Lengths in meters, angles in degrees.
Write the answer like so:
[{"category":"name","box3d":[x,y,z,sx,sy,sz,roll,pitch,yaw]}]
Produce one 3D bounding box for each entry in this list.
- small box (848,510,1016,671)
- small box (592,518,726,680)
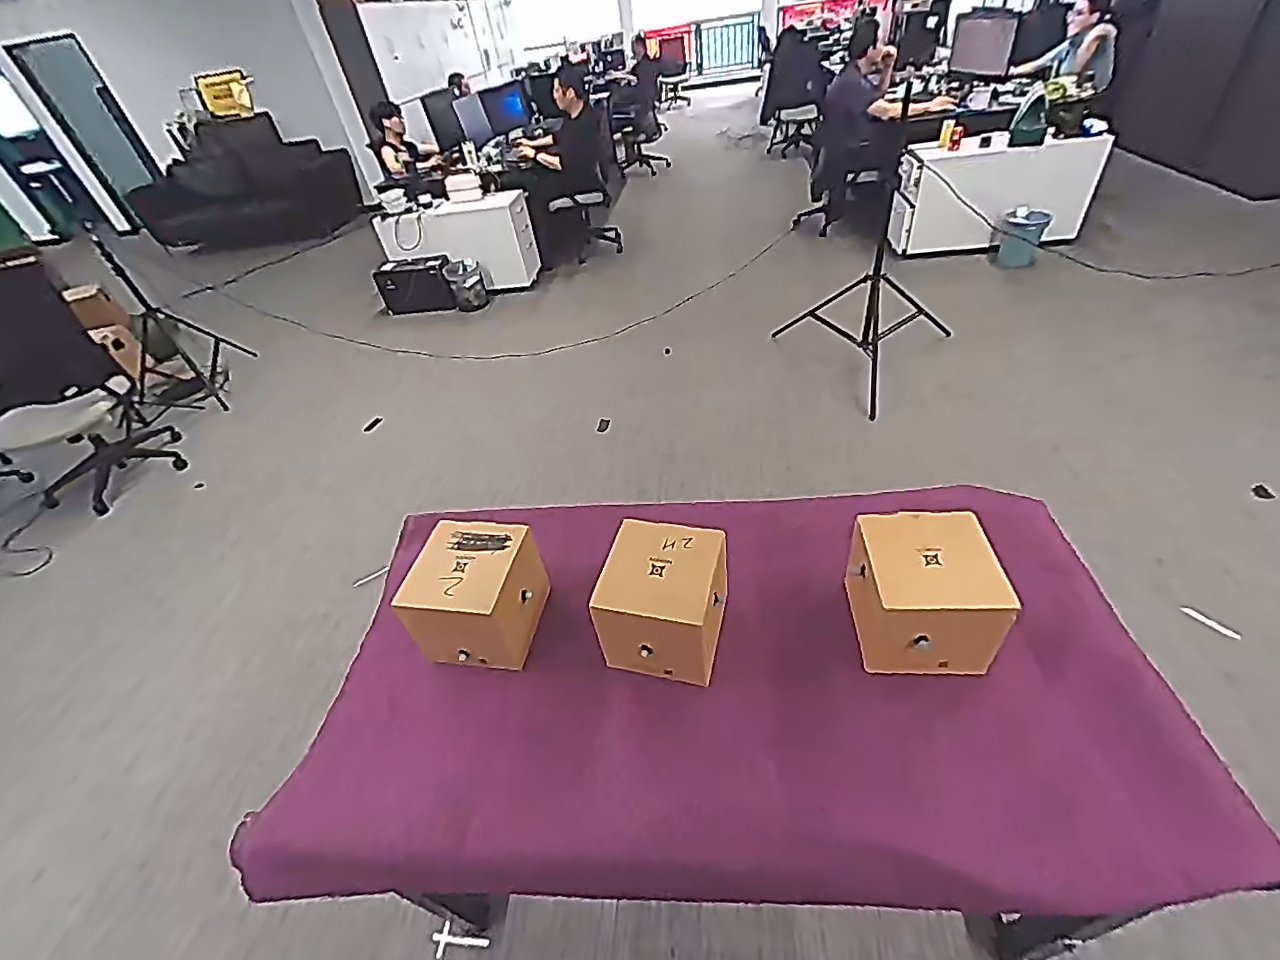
[{"category":"small box","box3d":[0.416,0.167,0.805,0.168,0.176,0.179,-3,41,9]},{"category":"small box","box3d":[0.042,0.187,0.852,0.168,0.176,0.179,6,43,17]}]
